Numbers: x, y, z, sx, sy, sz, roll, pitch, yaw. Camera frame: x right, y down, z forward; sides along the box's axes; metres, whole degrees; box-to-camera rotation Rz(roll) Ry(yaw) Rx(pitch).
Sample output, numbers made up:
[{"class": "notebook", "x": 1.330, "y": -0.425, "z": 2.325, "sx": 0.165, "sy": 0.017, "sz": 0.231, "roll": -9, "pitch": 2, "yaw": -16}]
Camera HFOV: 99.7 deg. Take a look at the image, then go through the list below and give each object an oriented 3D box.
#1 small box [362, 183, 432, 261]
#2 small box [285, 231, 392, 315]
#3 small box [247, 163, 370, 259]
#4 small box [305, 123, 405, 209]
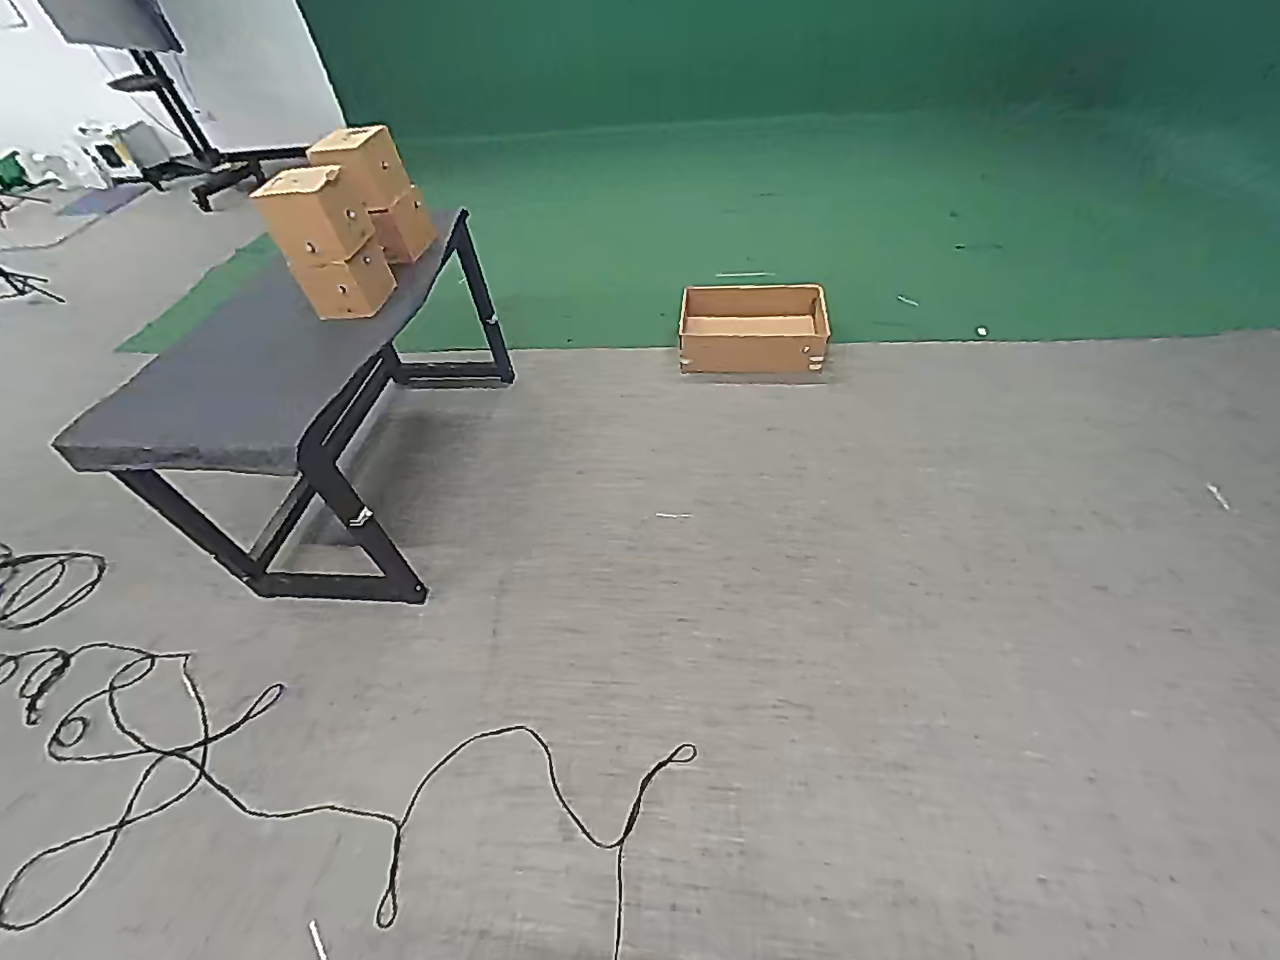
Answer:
[{"class": "small box", "x": -0.781, "y": -0.809, "z": 1.696, "sx": 0.168, "sy": 0.176, "sz": 0.179, "roll": 4, "pitch": 50, "yaw": 12}, {"class": "small box", "x": -0.818, "y": -0.570, "z": 1.493, "sx": 0.168, "sy": 0.176, "sz": 0.179, "roll": 1, "pitch": 48, "yaw": 7}, {"class": "small box", "x": -0.823, "y": -0.677, "z": 1.367, "sx": 0.179, "sy": 0.176, "sz": 0.168, "roll": 1, "pitch": 49, "yaw": 7}, {"class": "small box", "x": -0.811, "y": -0.907, "z": 1.566, "sx": 0.168, "sy": 0.176, "sz": 0.179, "roll": 3, "pitch": 51, "yaw": 10}]
